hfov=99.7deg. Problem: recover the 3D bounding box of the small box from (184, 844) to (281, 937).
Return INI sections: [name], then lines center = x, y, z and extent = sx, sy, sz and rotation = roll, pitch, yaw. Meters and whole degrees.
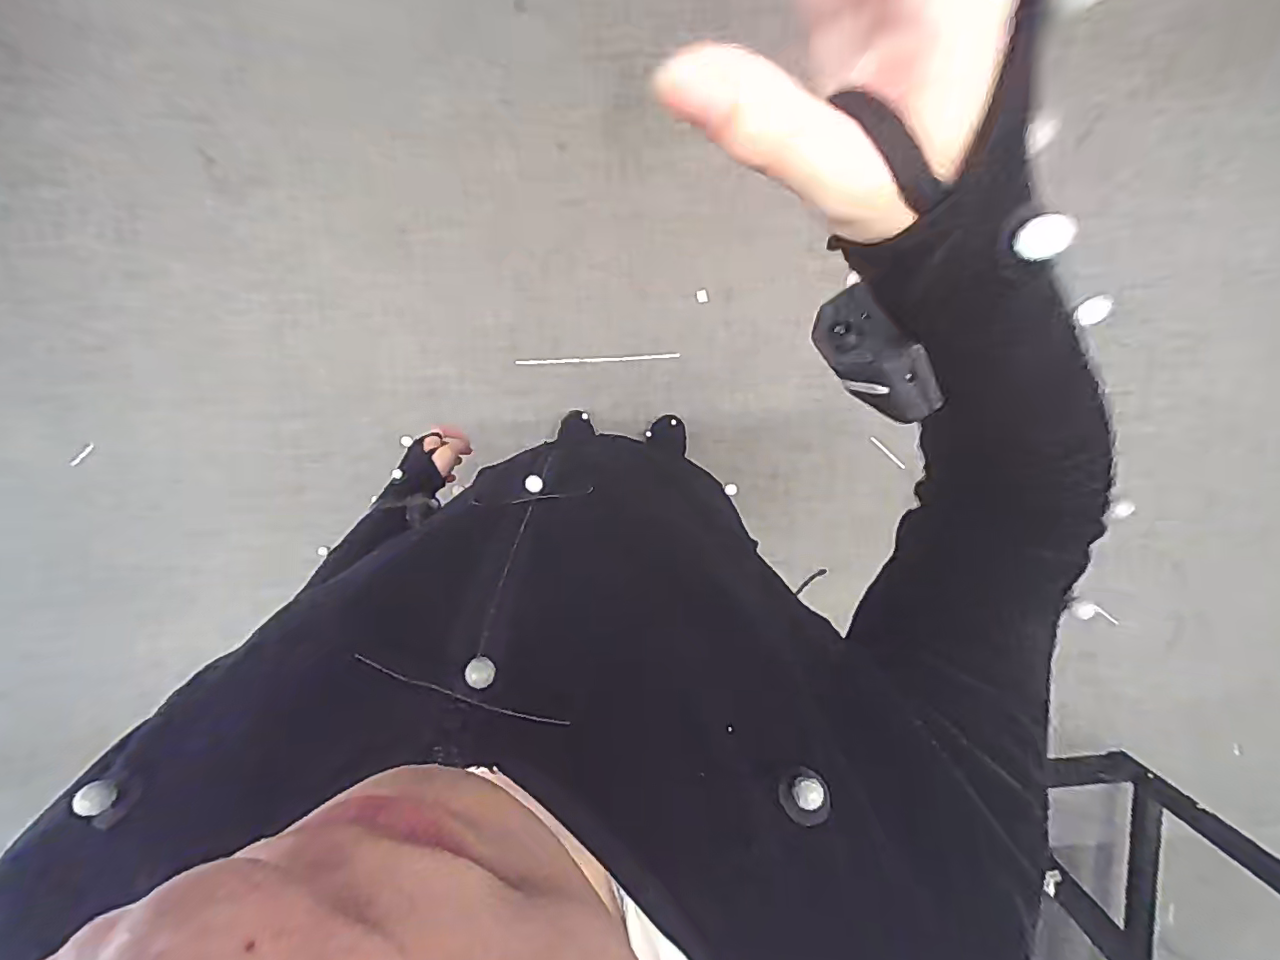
[small box]
center = -1.223, 1.240, 1.640
extent = 0.179, 0.176, 0.168
rotation = -2, 97, -1
